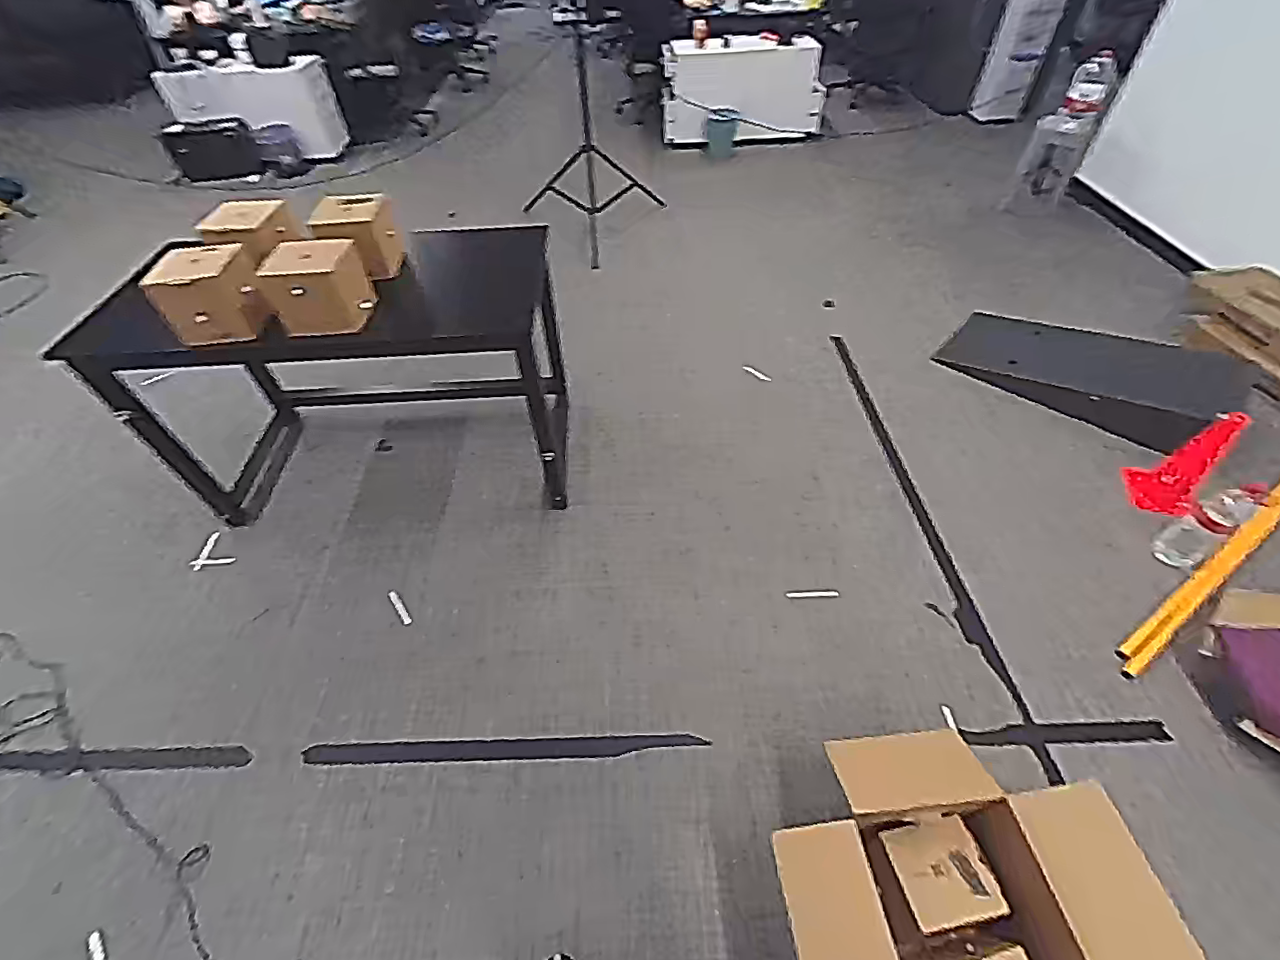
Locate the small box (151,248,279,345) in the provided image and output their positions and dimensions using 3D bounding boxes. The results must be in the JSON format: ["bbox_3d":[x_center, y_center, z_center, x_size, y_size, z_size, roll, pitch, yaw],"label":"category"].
[{"bbox_3d":[-1.045,-0.452,1.352,0.168,0.176,0.179,-8,49,-4],"label":"small box"}]

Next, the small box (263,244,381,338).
[{"bbox_3d":[-0.789,-0.472,1.361,0.179,0.176,0.168,-3,49,-1],"label":"small box"}]

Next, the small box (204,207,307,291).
[{"bbox_3d":[-1.066,-0.653,1.533,0.168,0.176,0.179,-2,49,1],"label":"small box"}]
